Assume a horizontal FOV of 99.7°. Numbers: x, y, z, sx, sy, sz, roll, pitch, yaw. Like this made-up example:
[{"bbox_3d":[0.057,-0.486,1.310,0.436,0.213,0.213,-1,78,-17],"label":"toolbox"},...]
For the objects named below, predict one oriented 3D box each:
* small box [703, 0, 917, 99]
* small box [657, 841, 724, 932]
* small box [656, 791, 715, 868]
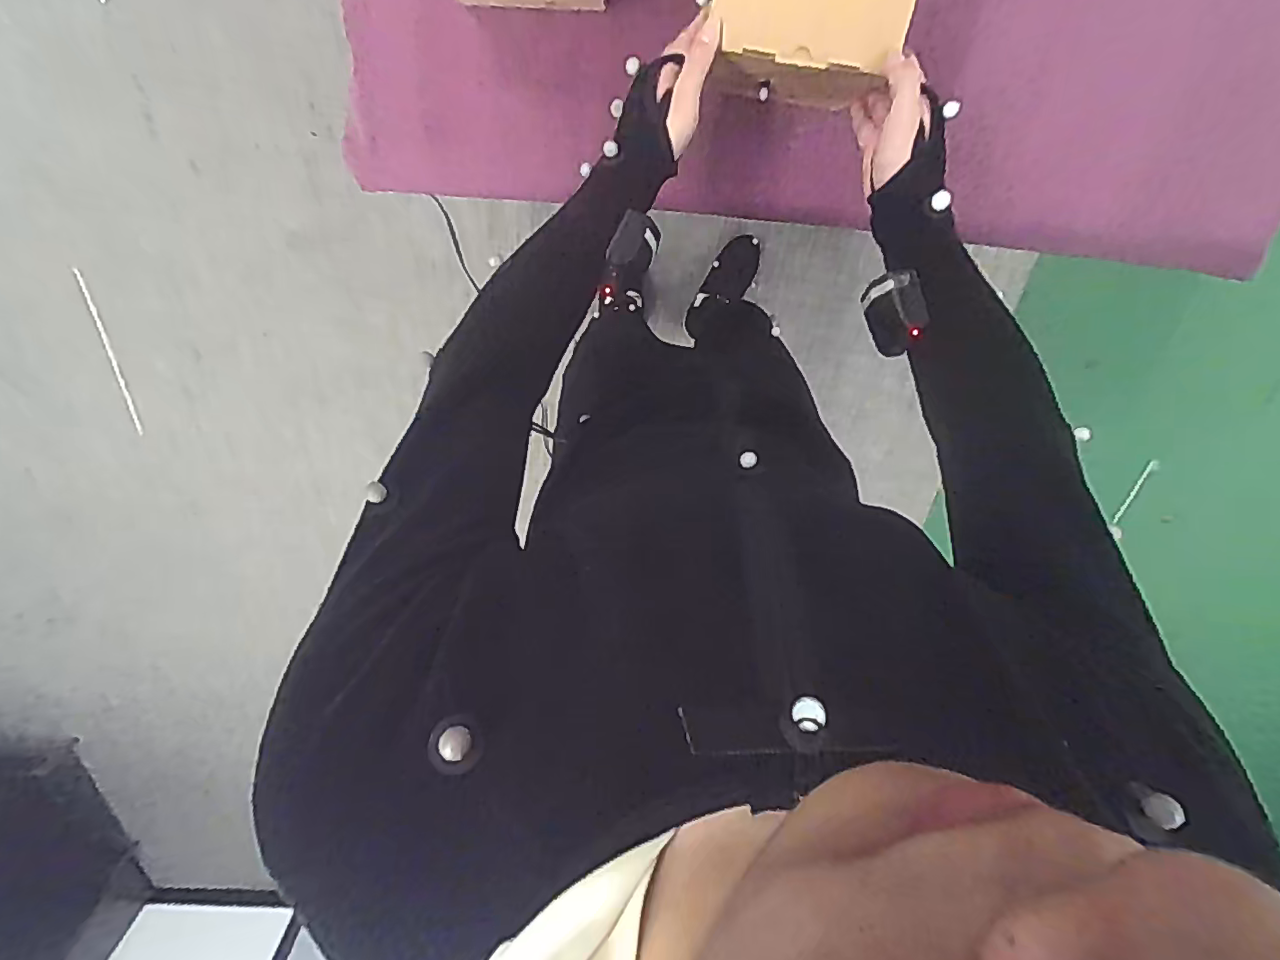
[{"bbox_3d":[0.154,-0.476,0.493,0.168,0.176,0.179,8,118,-1],"label":"small box"},{"bbox_3d":[0.150,1.270,1.690,0.168,0.176,0.179,9,118,-7],"label":"small box"},{"bbox_3d":[0.147,1.191,1.833,0.168,0.176,0.179,7,119,-5],"label":"small box"}]
